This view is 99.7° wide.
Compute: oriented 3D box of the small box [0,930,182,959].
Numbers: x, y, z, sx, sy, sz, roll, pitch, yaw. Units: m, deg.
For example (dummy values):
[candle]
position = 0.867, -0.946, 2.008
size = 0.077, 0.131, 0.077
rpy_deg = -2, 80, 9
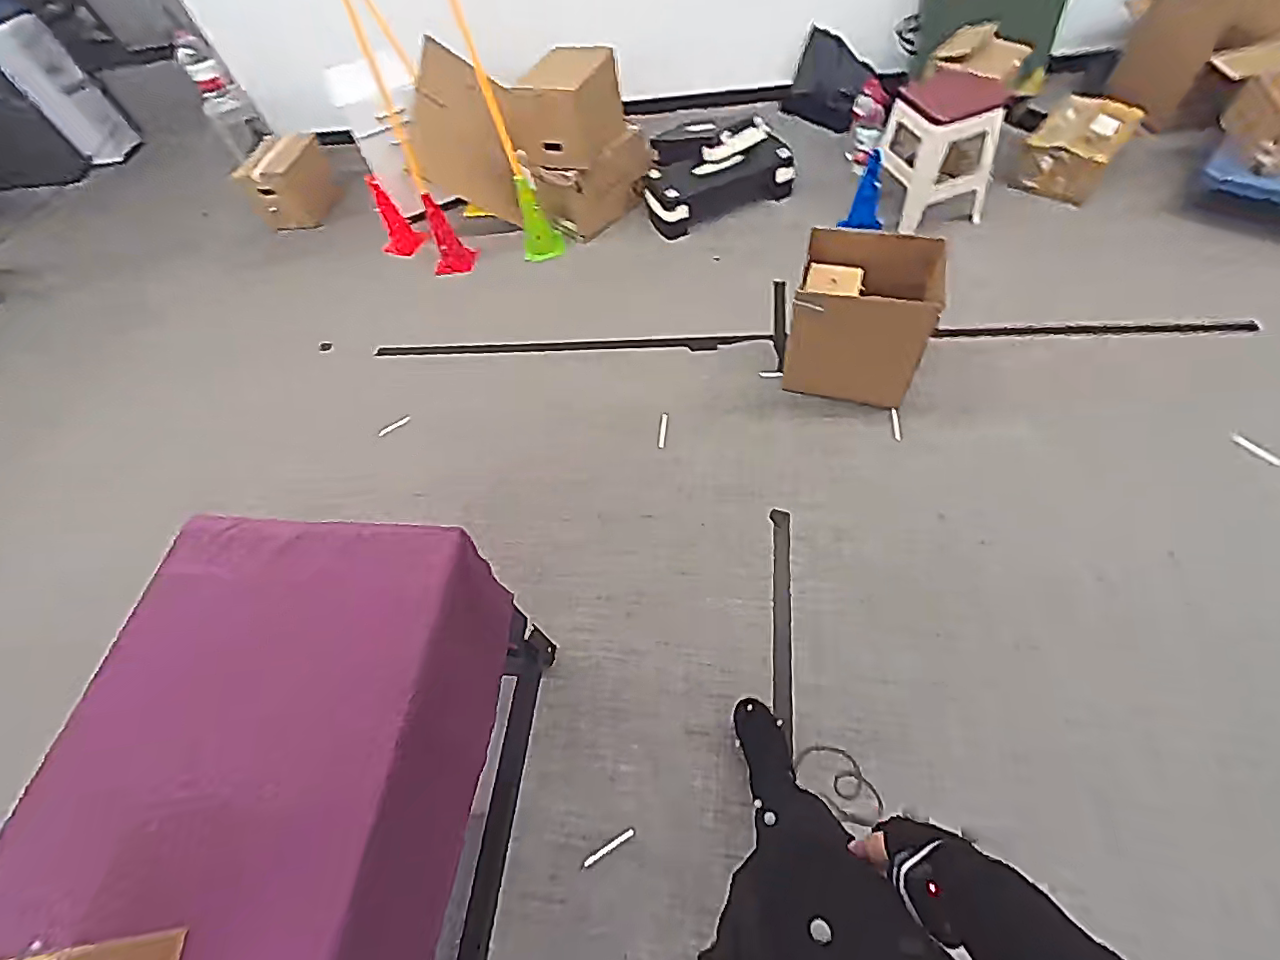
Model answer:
[small box]
position = -0.692, 0.642, 0.620
size = 0.179, 0.176, 0.168
rpy_deg = -10, 56, 3
